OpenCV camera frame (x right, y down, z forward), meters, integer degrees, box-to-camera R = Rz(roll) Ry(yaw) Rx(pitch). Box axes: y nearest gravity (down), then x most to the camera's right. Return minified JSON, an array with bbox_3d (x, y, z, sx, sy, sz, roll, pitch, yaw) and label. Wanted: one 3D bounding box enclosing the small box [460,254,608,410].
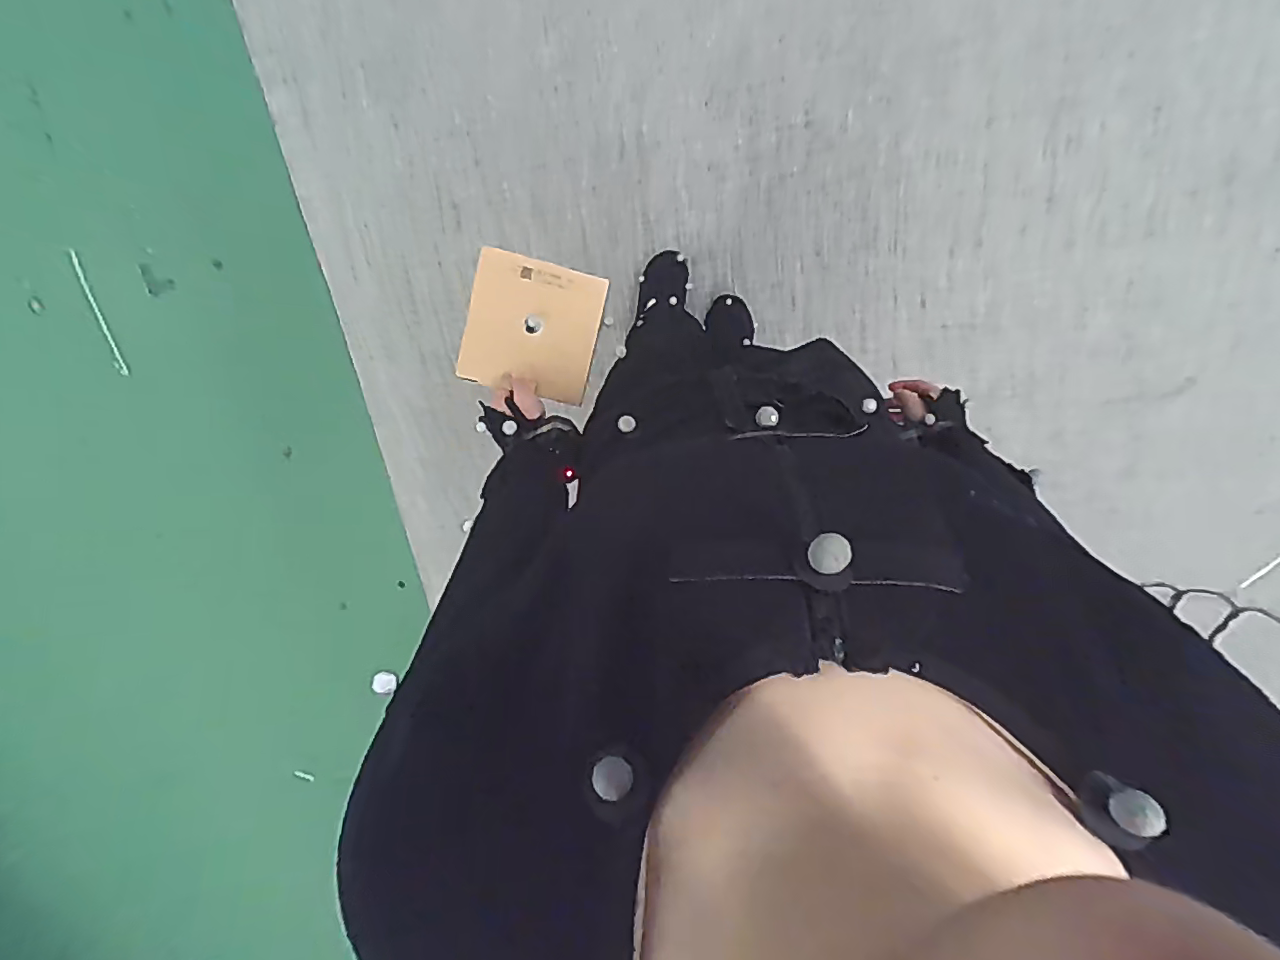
[{"bbox_3d":[-0.145,-0.203,0.773,0.168,0.179,0.176,13,95,-8],"label":"small box"}]
